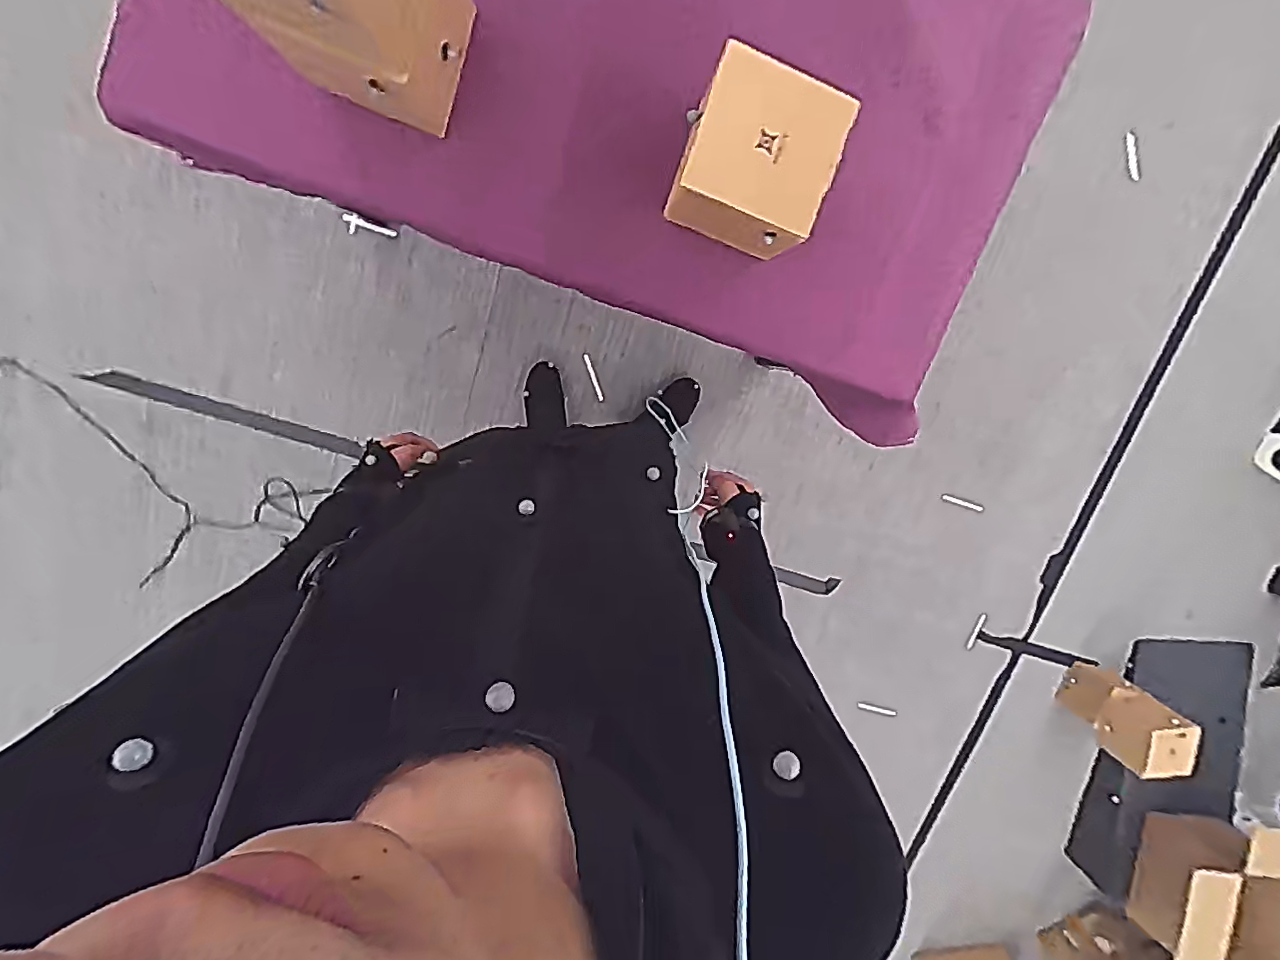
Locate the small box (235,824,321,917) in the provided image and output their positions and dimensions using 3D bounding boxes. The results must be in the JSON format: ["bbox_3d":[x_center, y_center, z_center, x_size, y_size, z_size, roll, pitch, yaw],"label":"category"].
[{"bbox_3d":[-1.197,1.295,1.802,0.168,0.176,0.179,20,103,-10],"label":"small box"}]

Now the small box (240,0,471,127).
[{"bbox_3d":[-0.315,-0.554,0.636,0.179,0.176,0.168,19,102,-10],"label":"small box"}]

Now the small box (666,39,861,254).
[{"bbox_3d":[0.147,-0.419,0.718,0.179,0.176,0.168,18,102,-10],"label":"small box"}]
